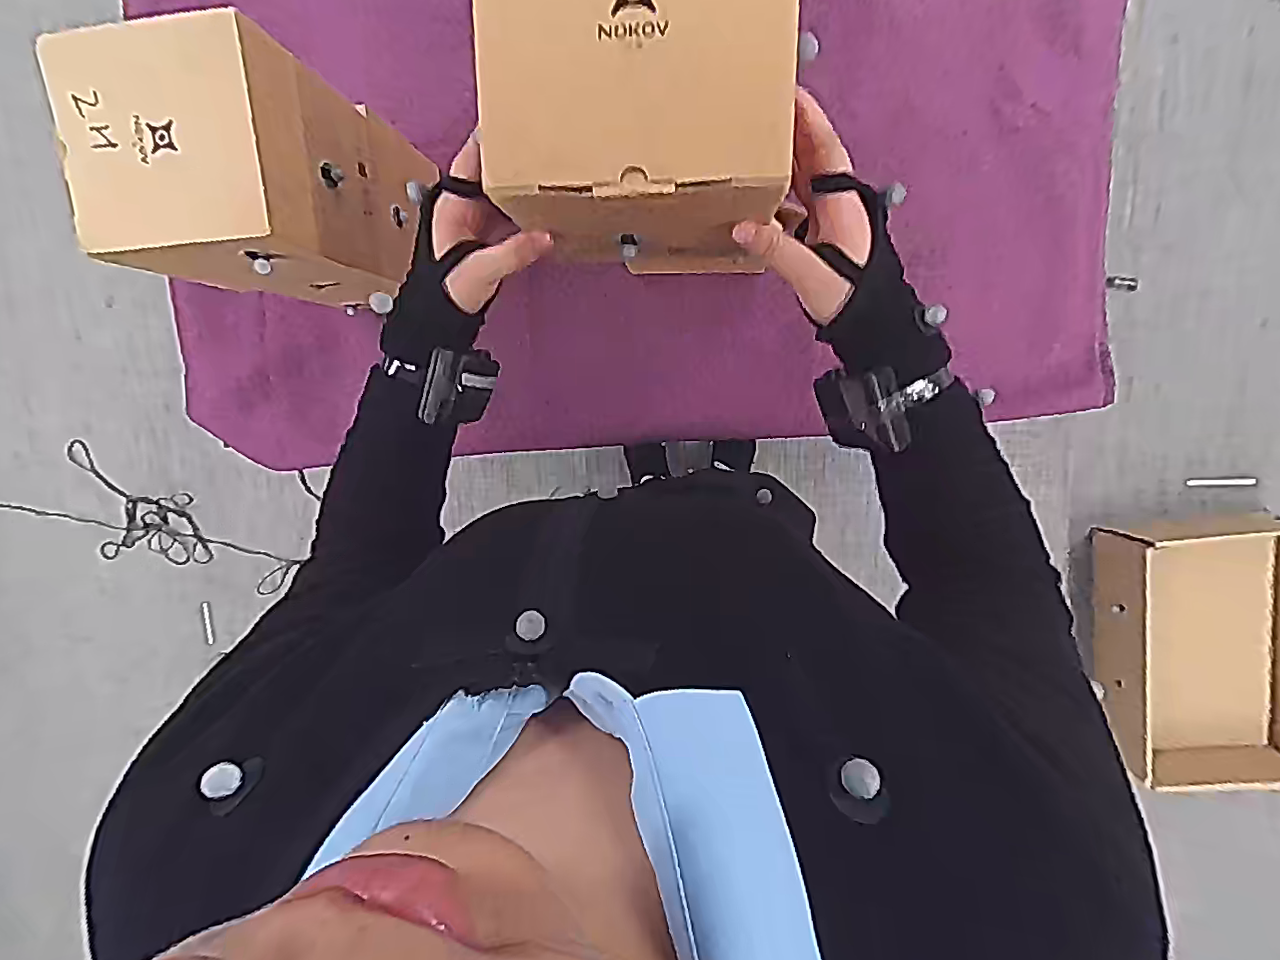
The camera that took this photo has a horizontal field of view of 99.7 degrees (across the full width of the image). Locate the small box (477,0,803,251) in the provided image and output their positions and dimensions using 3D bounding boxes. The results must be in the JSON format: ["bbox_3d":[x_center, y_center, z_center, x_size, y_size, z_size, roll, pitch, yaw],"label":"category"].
[{"bbox_3d":[0.004,-0.259,0.345,0.168,0.176,0.179,1,102,5],"label":"small box"}]

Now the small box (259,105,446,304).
[{"bbox_3d":[-0.354,-0.317,0.664,0.168,0.176,0.179,-2,98,6],"label":"small box"}]

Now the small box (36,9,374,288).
[{"bbox_3d":[-0.373,-0.283,0.504,0.179,0.176,0.168,-2,98,6],"label":"small box"}]
